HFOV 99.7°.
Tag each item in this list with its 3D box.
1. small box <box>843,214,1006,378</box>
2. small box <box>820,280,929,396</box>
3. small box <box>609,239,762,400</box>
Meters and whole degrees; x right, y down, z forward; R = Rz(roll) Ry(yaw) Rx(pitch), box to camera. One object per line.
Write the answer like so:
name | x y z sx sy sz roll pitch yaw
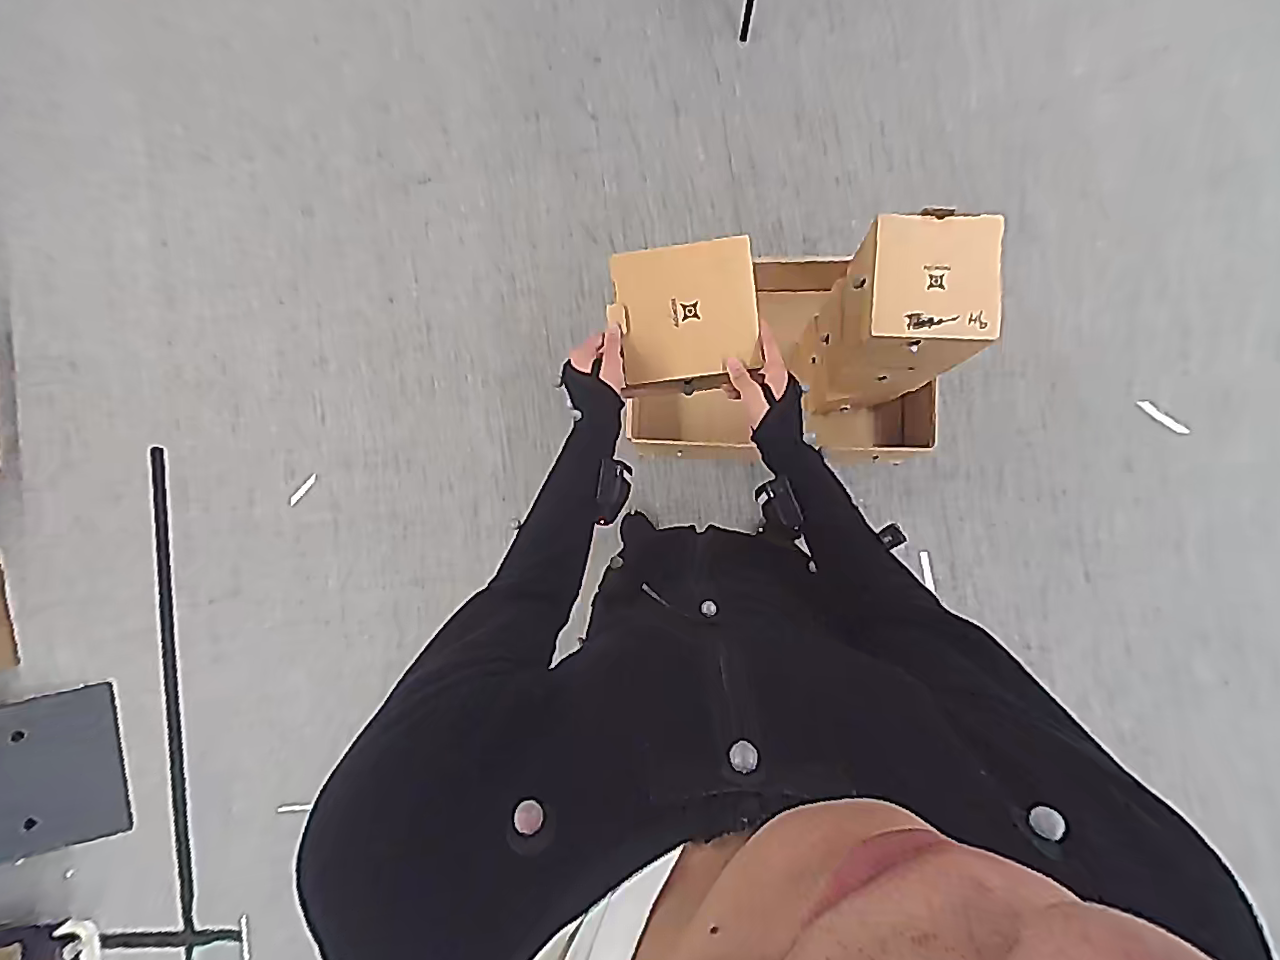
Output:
small box | 0.407 -0.264 0.800 0.168 0.176 0.179 5 86 8
small box | 0.425 -0.248 0.964 0.179 0.176 0.168 -2 86 7
small box | 0.061 -0.206 0.740 0.179 0.176 0.168 -6 92 6
